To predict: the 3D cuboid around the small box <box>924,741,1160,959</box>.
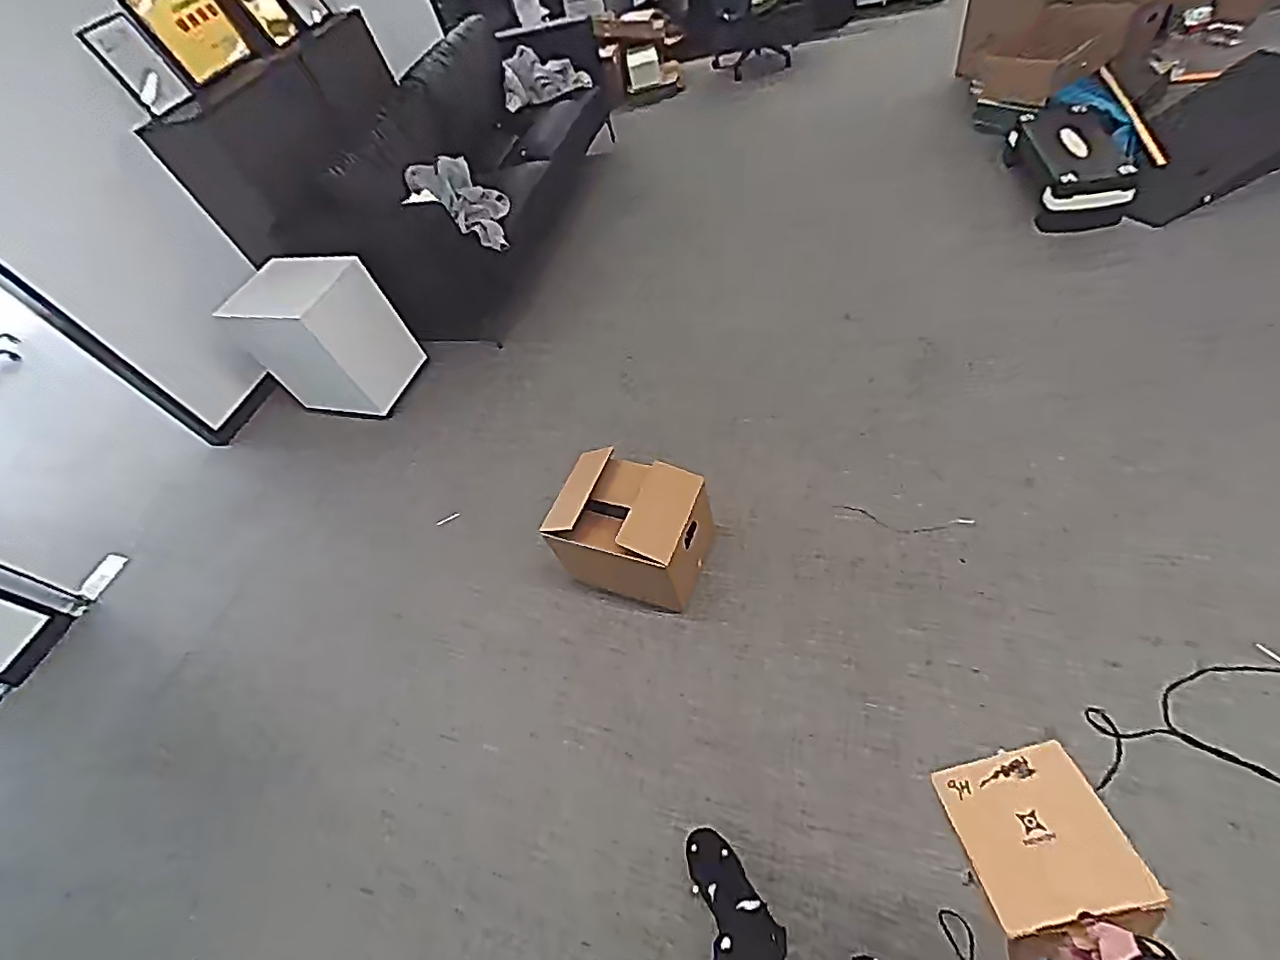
[{"bbox_3d":[0.500,0.476,0.688,0.168,0.176,0.179,-27,33,10],"label":"small box"}]
